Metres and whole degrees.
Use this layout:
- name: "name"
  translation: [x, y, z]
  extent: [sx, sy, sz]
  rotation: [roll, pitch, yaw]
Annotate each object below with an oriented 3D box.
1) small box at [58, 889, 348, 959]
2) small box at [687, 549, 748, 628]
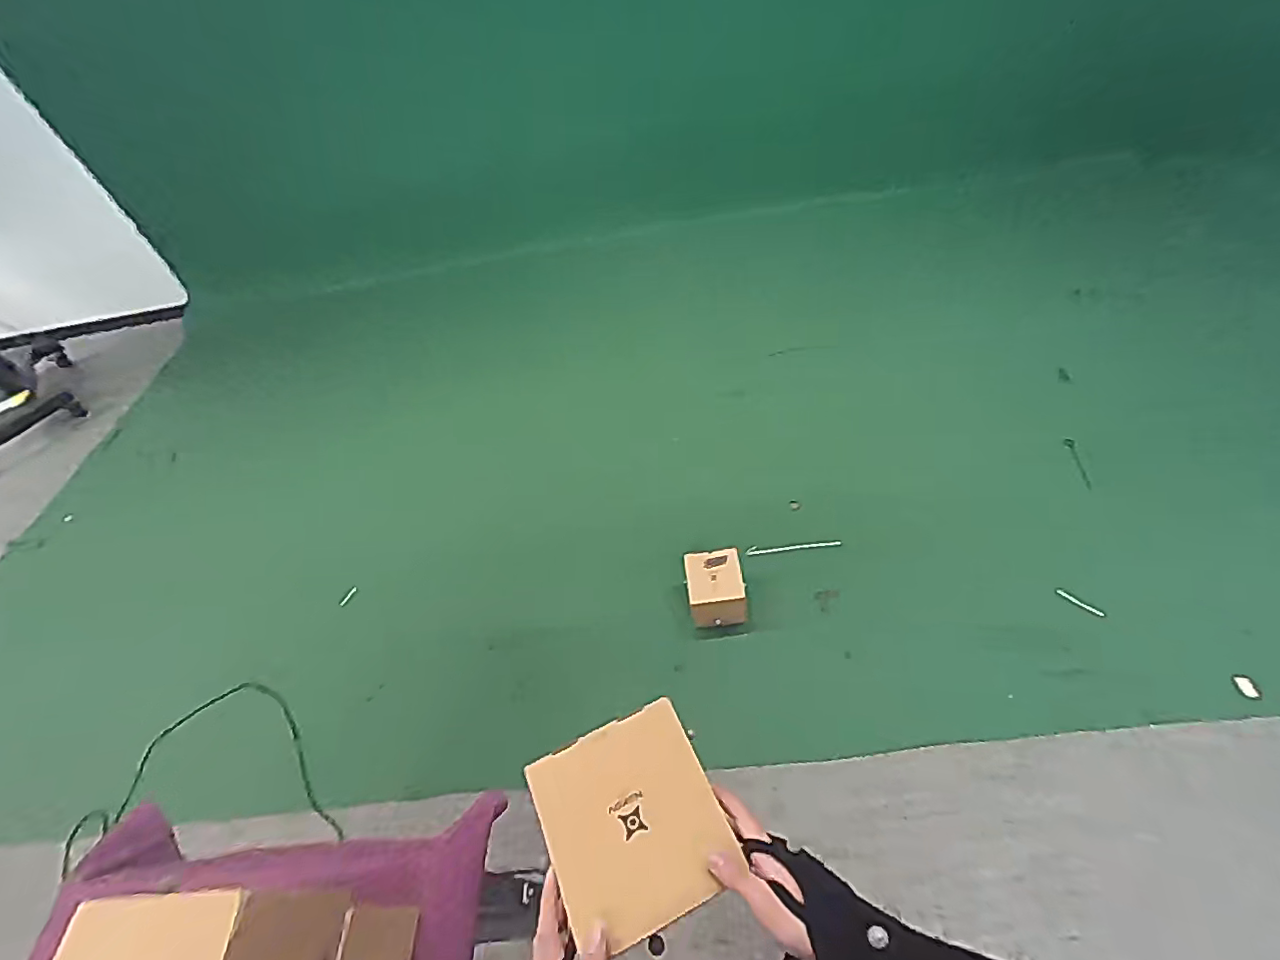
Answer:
- name: "small box"
  translation: [-0.425, 0.500, 0.514]
  extent: [0.179, 0.176, 0.168]
  rotation: [-8, 51, 5]
- name: "small box"
  translation: [0.241, 0.342, 1.695]
  extent: [0.168, 0.176, 0.179]
  rotation: [-9, 50, 5]
